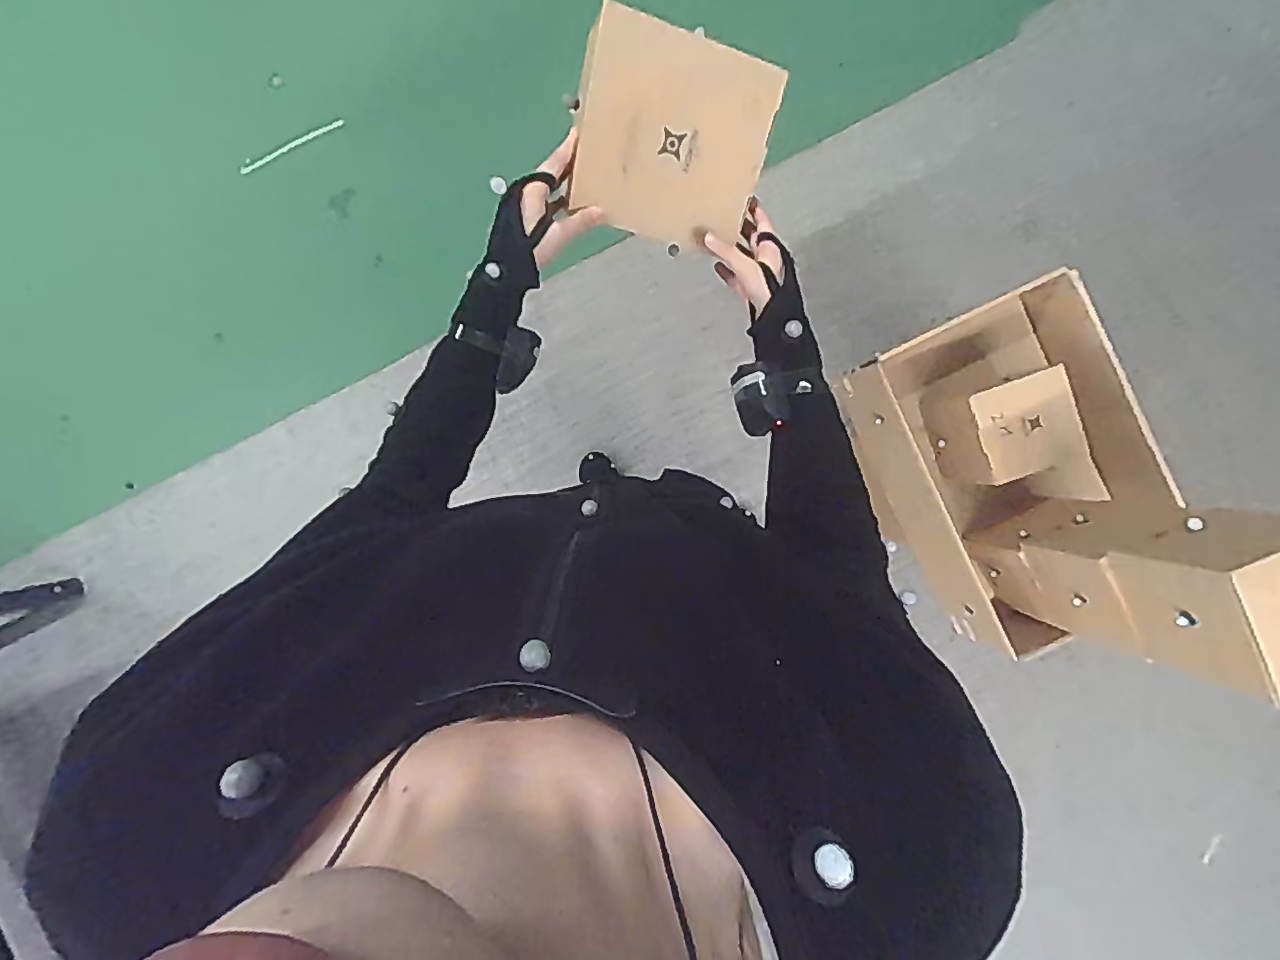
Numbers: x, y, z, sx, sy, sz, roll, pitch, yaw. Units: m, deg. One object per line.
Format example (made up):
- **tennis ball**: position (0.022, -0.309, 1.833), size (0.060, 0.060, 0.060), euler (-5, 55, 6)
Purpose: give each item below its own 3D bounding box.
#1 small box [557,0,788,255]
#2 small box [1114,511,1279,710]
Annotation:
- **small box**: position (0.017, -0.351, 0.562), size (0.179, 0.176, 0.168), euler (9, 117, -16)
- **small box**: position (0.773, 0.152, 0.688), size (0.168, 0.176, 0.179), euler (-22, 91, 1)
